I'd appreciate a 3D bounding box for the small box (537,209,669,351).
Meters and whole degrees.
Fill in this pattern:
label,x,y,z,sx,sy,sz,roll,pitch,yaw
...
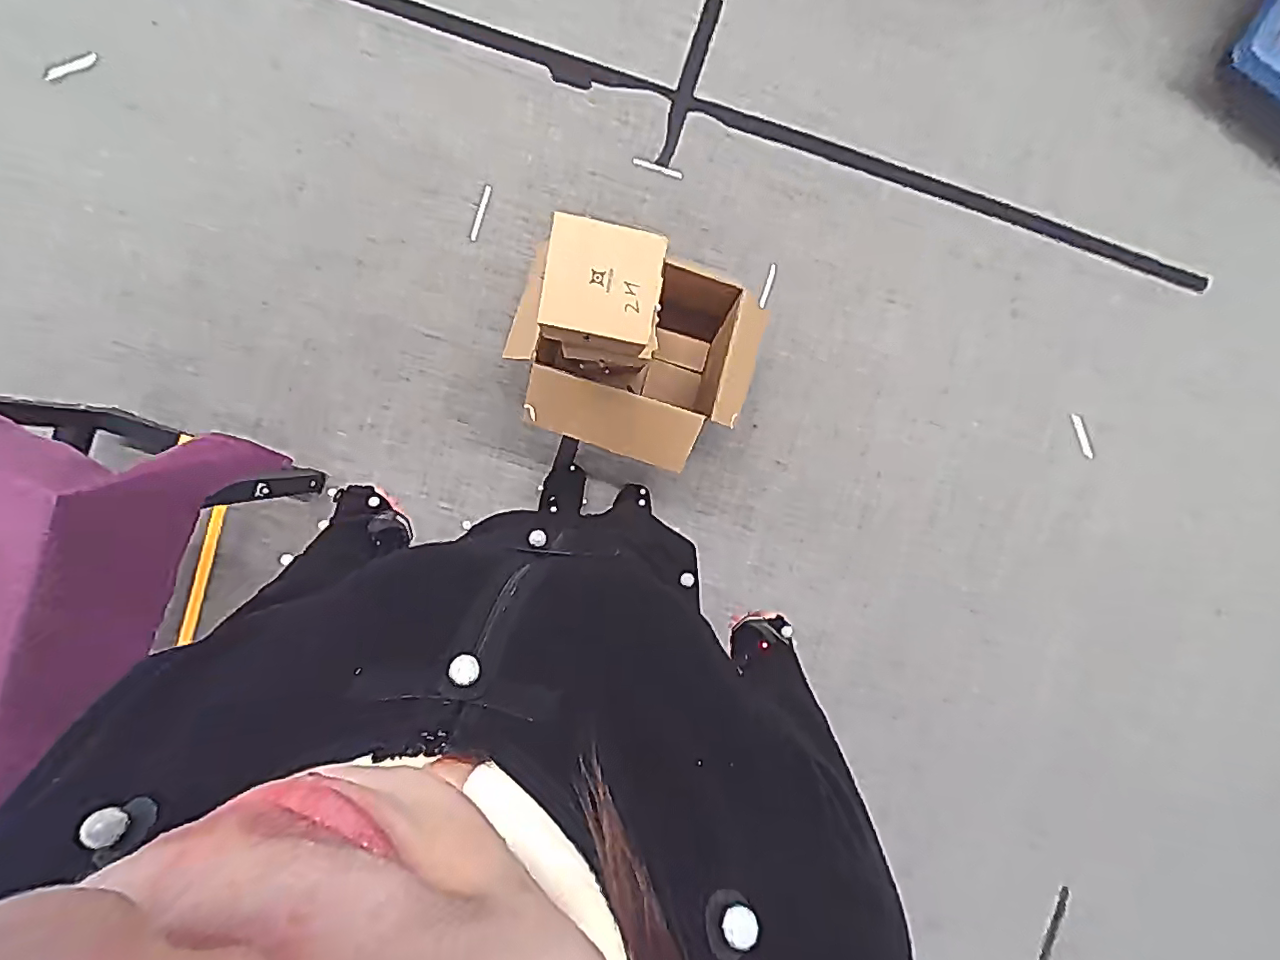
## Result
label,x,y,z,sx,sy,sz,roll,pitch,yaw
small box,-0.063,-0.315,0.890,0.179,0.176,0.168,10,97,-7

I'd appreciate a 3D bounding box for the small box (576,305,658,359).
label,x,y,z,sx,sy,sz,roll,pitch,yaw
small box,-0.059,-0.366,1.217,0.179,0.176,0.168,-4,97,-6
